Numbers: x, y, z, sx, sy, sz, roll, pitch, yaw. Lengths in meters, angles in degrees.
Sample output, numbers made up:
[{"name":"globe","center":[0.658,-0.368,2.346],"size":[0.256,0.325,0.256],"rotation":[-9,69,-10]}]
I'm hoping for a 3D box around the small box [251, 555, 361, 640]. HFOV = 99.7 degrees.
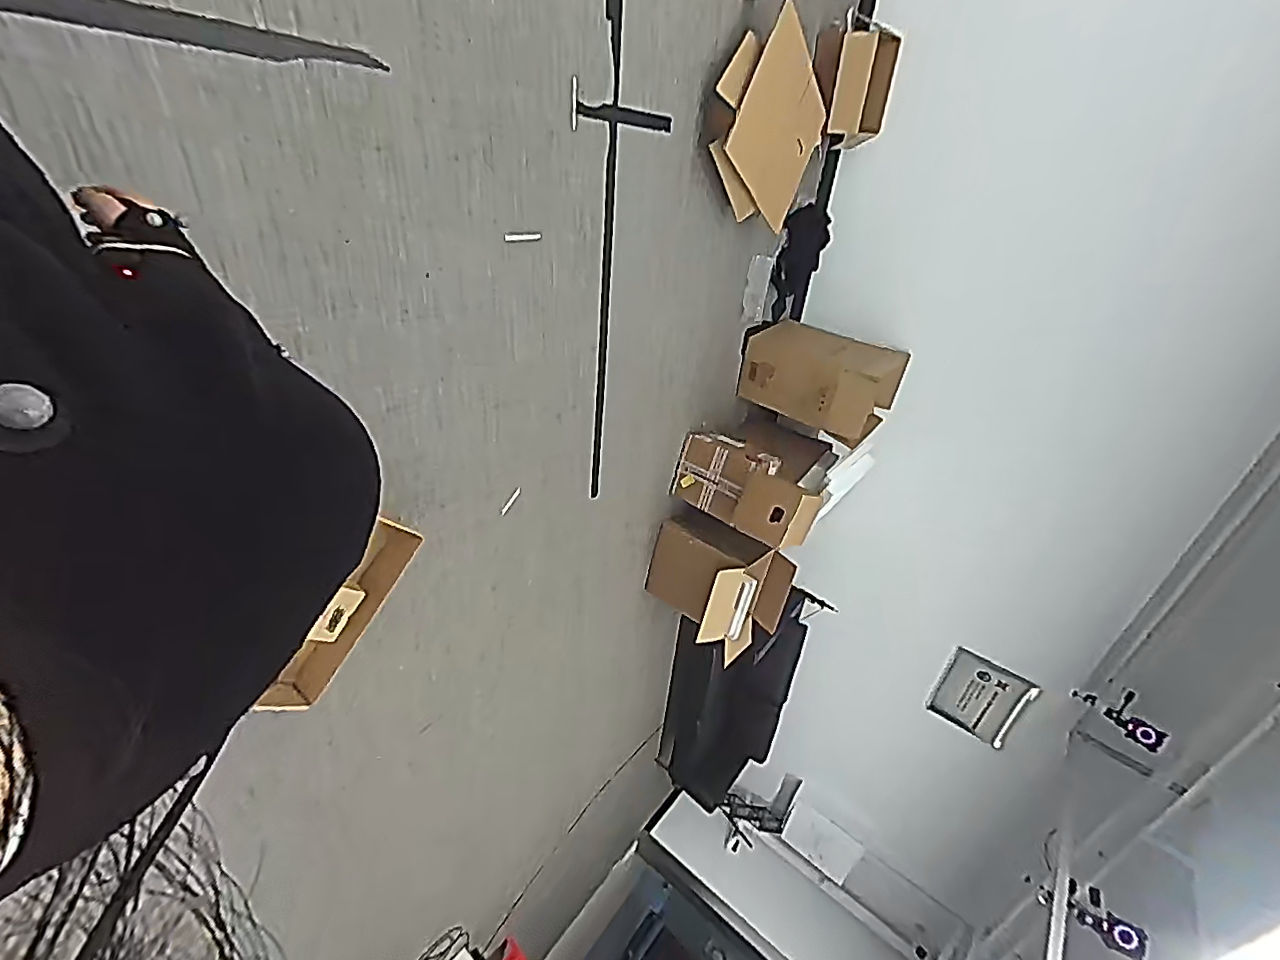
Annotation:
[{"name":"small box","center":[-0.954,0.335,1.544],"size":[0.168,0.176,0.179],"rotation":[-59,149,-8]}]
